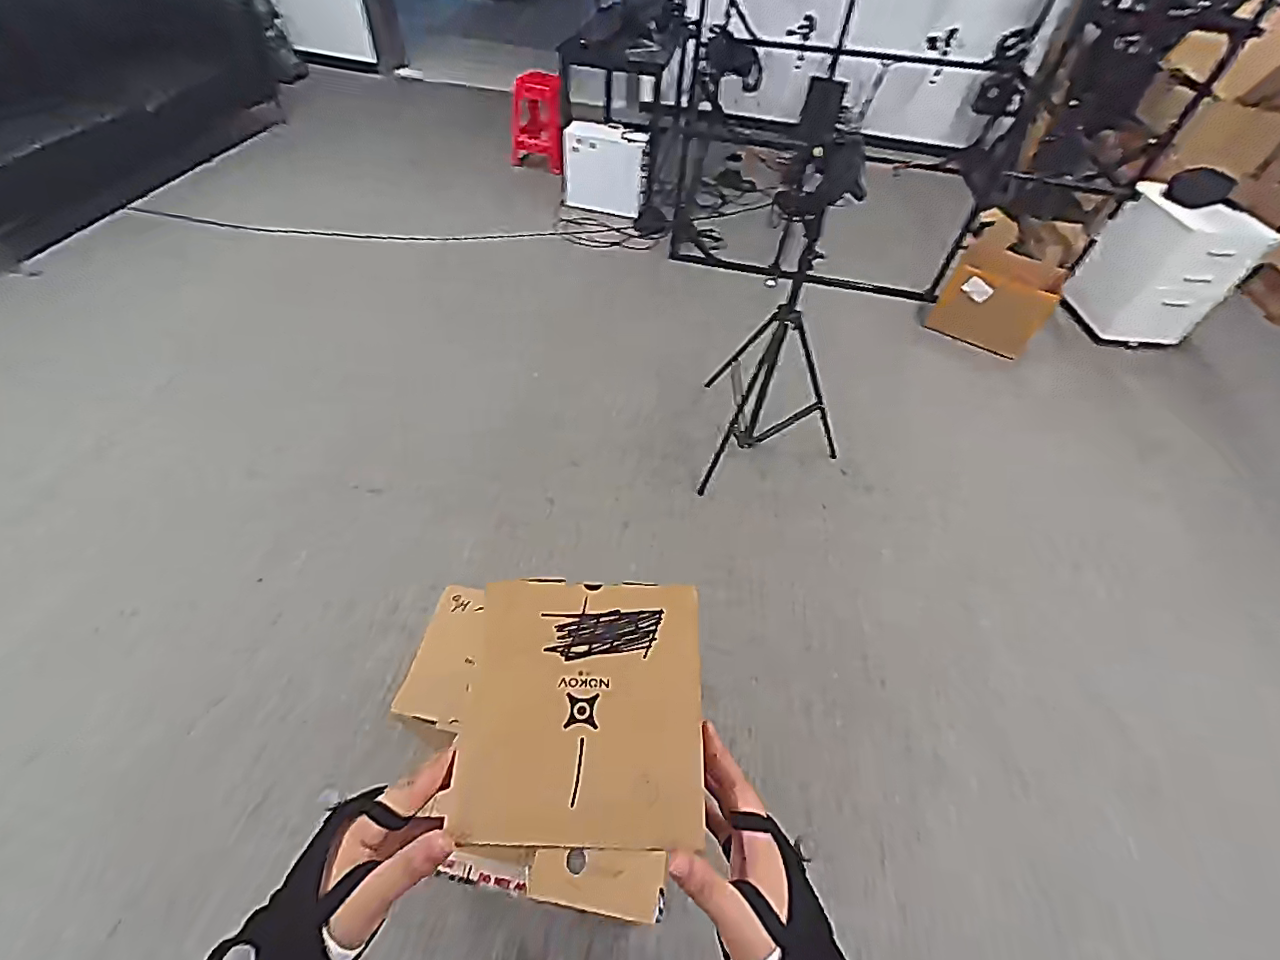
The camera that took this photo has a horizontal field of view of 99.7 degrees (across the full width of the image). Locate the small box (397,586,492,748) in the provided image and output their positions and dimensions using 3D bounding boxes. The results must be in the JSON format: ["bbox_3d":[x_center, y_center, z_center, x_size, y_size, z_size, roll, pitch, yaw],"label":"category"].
[{"bbox_3d":[-0.198,0.275,0.749,0.168,0.176,0.179,10,52,5],"label":"small box"}]

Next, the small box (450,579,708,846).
[{"bbox_3d":[-0.039,0.198,0.450,0.168,0.176,0.179,1,57,-1],"label":"small box"}]
